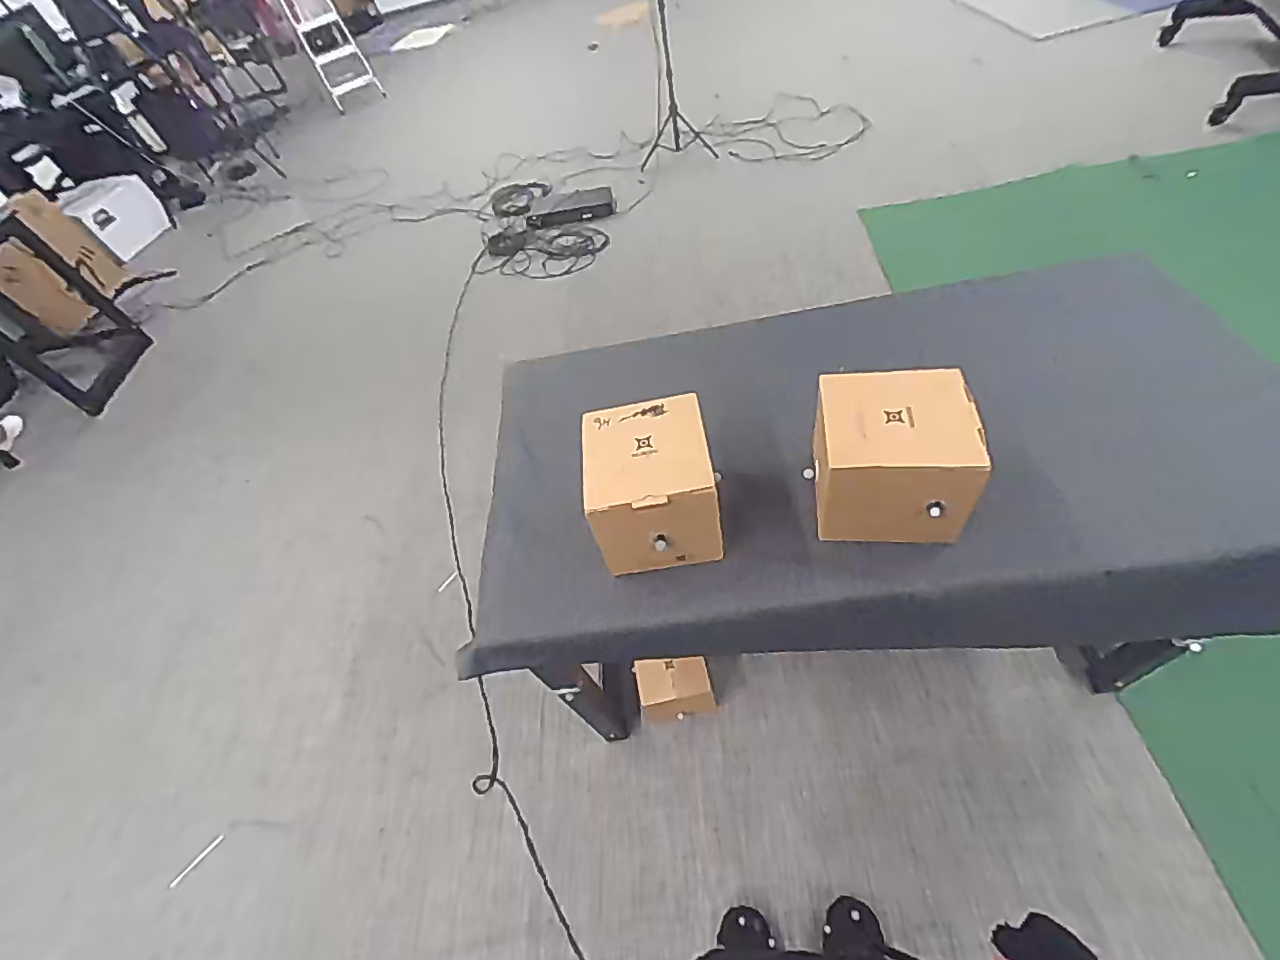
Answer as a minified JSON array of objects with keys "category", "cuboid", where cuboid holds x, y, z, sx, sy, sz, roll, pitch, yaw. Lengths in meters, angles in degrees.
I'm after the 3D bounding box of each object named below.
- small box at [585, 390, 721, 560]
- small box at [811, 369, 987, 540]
[{"category":"small box","cuboid":[0.020,0.003,0.776,0.168,0.176,0.179,-9,52,5]},{"category":"small box","cuboid":[0.333,-0.030,0.735,0.179,0.176,0.168,-1,53,13]}]
